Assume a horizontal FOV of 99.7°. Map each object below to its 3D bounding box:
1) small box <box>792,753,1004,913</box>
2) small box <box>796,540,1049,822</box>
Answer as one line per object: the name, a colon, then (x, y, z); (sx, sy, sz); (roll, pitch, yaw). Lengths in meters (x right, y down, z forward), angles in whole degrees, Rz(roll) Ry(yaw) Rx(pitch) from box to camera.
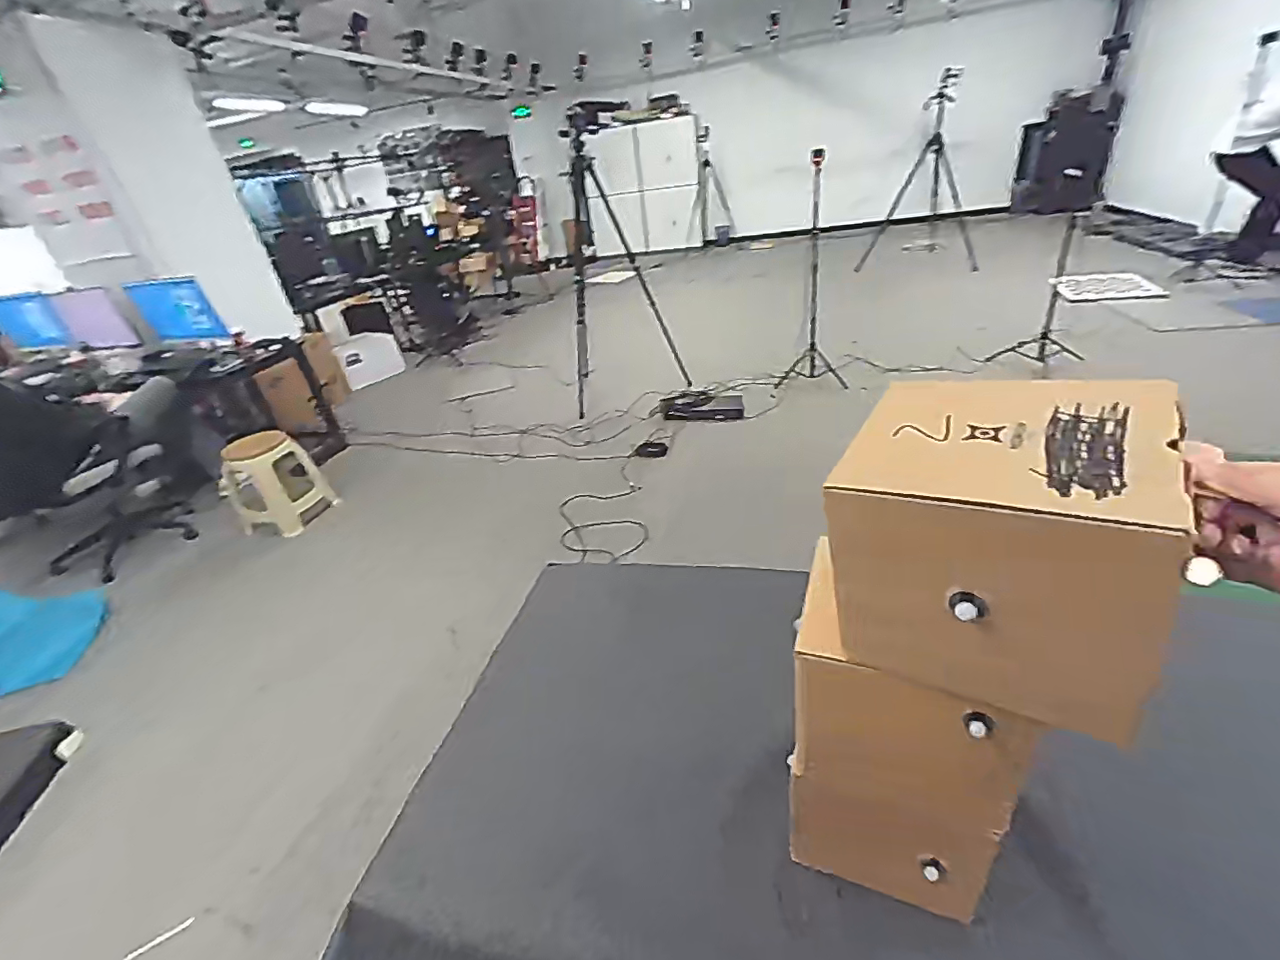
small box: (0.267, 0.321, 0.586); (0.179, 0.176, 0.168); (5, 32, 24)
small box: (0.247, 0.180, 0.509); (0.179, 0.176, 0.168); (6, 32, 23)
